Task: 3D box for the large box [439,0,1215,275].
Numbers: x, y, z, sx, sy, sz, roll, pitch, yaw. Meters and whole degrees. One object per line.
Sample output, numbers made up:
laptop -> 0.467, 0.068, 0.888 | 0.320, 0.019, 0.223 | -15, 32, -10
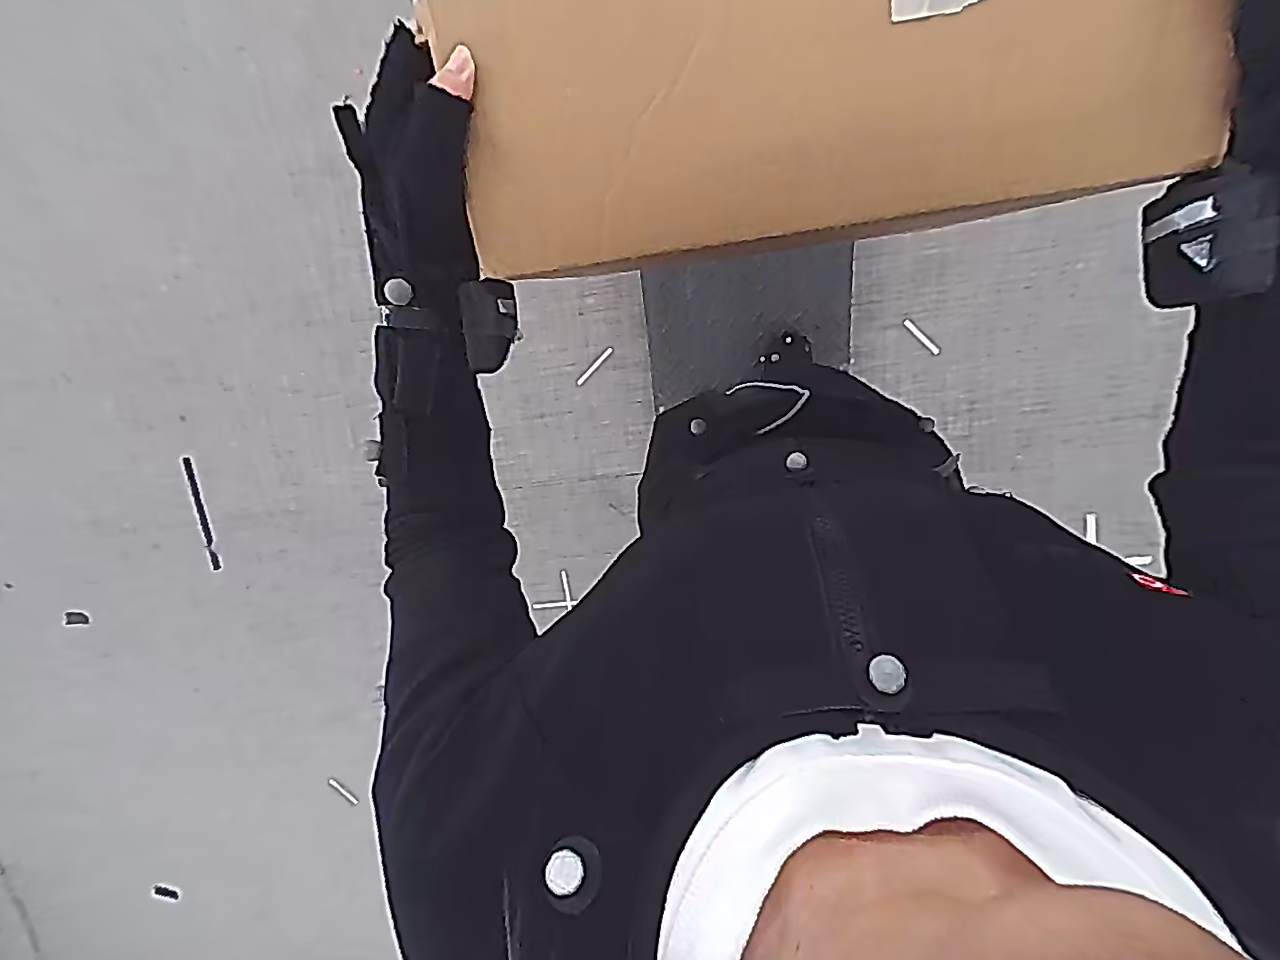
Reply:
large box -> 0.094, -0.351, 0.411 | 0.408, 0.320, 0.320 | -6, 110, 9
